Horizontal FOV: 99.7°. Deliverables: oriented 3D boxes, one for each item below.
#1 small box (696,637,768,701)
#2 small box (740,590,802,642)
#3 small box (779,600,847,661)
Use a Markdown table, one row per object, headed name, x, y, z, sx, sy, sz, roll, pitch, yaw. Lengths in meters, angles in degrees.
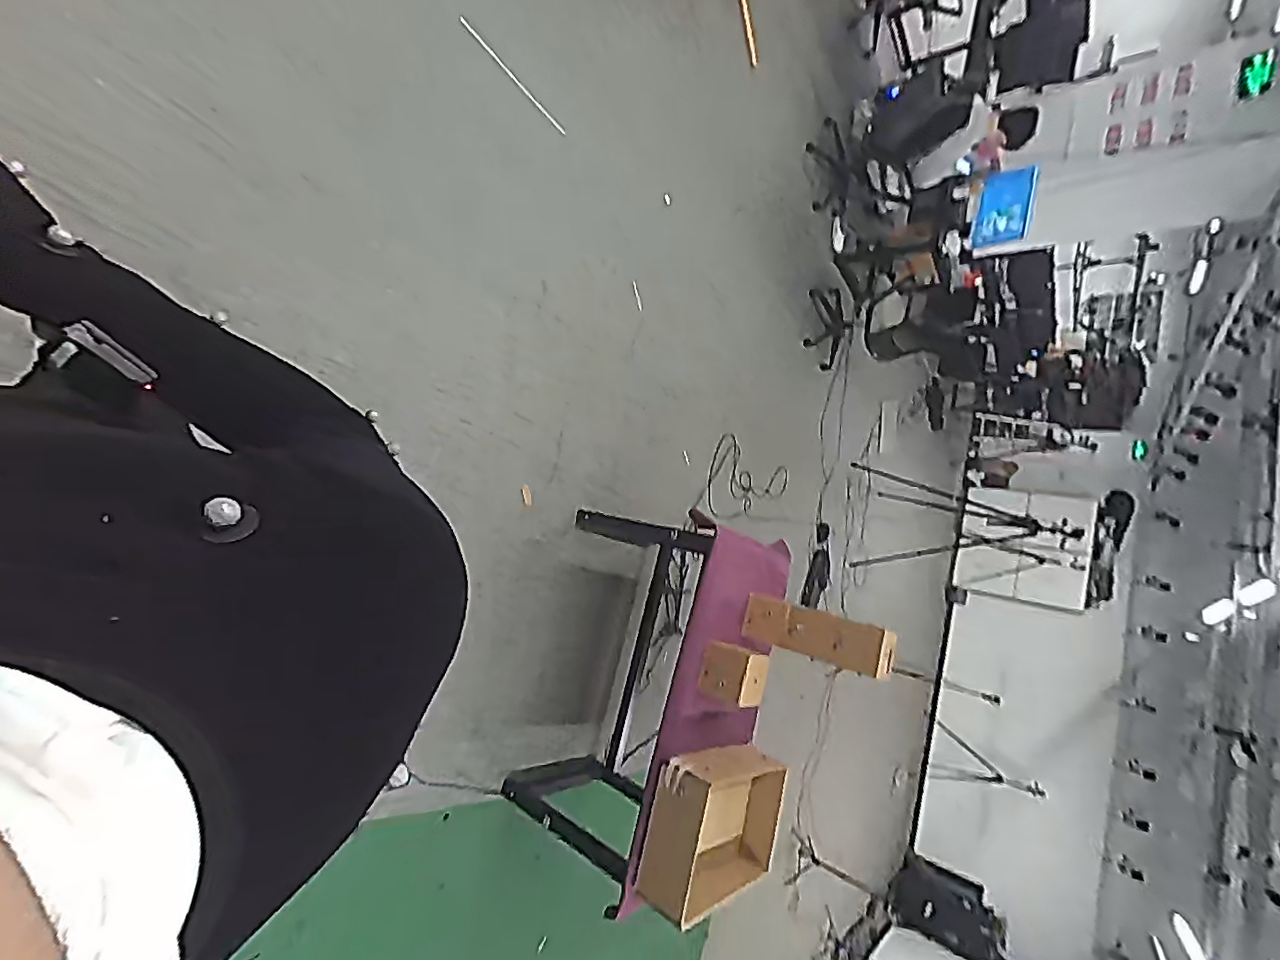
| name | x | y | z | sx | sy | sz | roll | pitch | yaw |
| --- | --- | --- | --- | --- | --- | --- | --- | --- | --- |
| small box | 0.314 | 0.645 | 1.850 | 0.179 | 0.176 | 0.168 | 27 | 76 | -51 |
| small box | 0.502 | 0.521 | 2.064 | 0.179 | 0.176 | 0.168 | 23 | 77 | -51 |
| small box | 0.629 | 0.544 | 1.961 | 0.179 | 0.176 | 0.168 | 30 | 73 | -48 |
